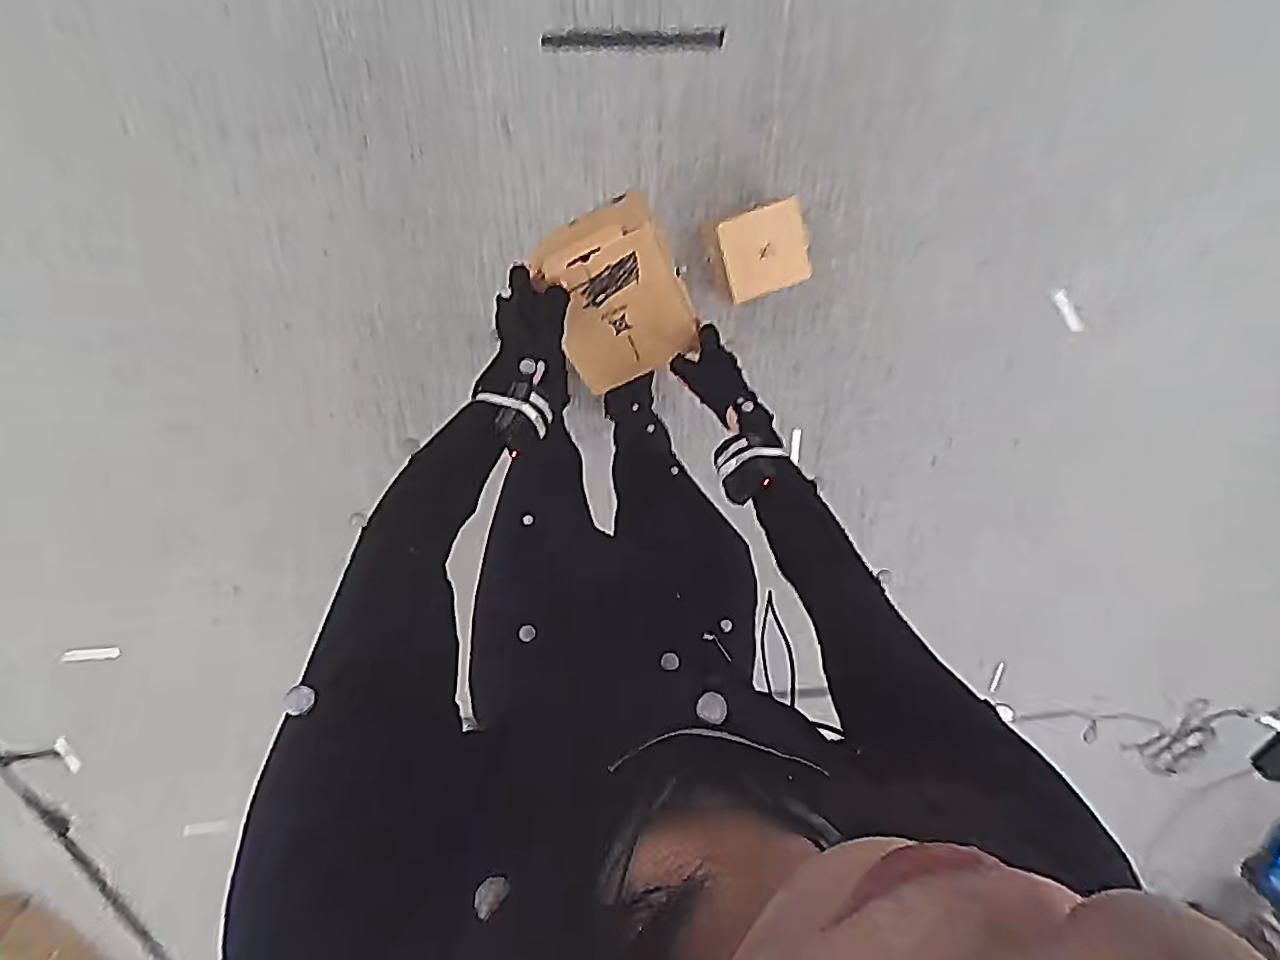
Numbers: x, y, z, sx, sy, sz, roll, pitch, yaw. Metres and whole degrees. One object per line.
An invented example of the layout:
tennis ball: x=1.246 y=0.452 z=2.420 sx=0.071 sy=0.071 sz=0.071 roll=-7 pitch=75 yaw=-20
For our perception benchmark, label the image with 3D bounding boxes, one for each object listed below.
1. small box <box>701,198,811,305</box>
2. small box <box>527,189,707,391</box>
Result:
small box: x=0.249 y=-0.502 z=1.185 sx=0.179 sy=0.176 sz=0.168 roll=-20 pitch=115 yaw=3
small box: x=-0.029 y=-0.256 z=0.714 sx=0.168 sy=0.176 sz=0.179 roll=-22 pitch=129 yaw=14
